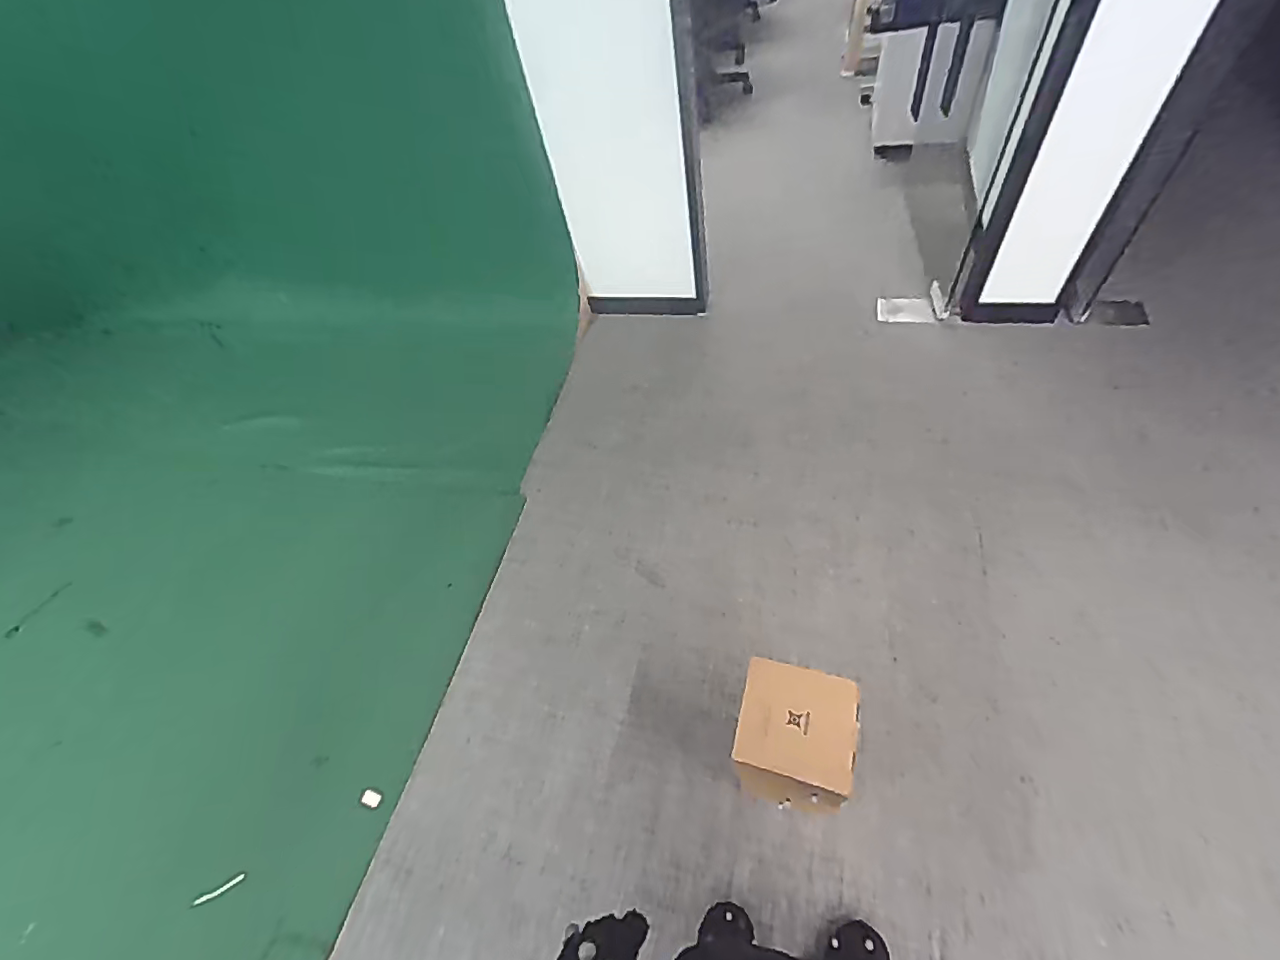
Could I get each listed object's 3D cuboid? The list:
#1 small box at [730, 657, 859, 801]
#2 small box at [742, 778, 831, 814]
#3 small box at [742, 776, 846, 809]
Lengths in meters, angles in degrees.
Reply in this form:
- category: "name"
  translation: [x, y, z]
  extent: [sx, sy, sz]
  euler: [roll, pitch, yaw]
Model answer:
- category: "small box"
  translation: [0.257, 0.420, 0.905]
  extent: [0.179, 0.176, 0.168]
  euler: [8, 56, 19]
- category: "small box"
  translation: [0.325, 0.599, 1.166]
  extent: [0.179, 0.176, 0.168]
  euler: [11, 57, 19]
- category: "small box"
  translation: [0.297, 0.512, 1.033]
  extent: [0.179, 0.176, 0.168]
  euler: [9, 58, 18]
